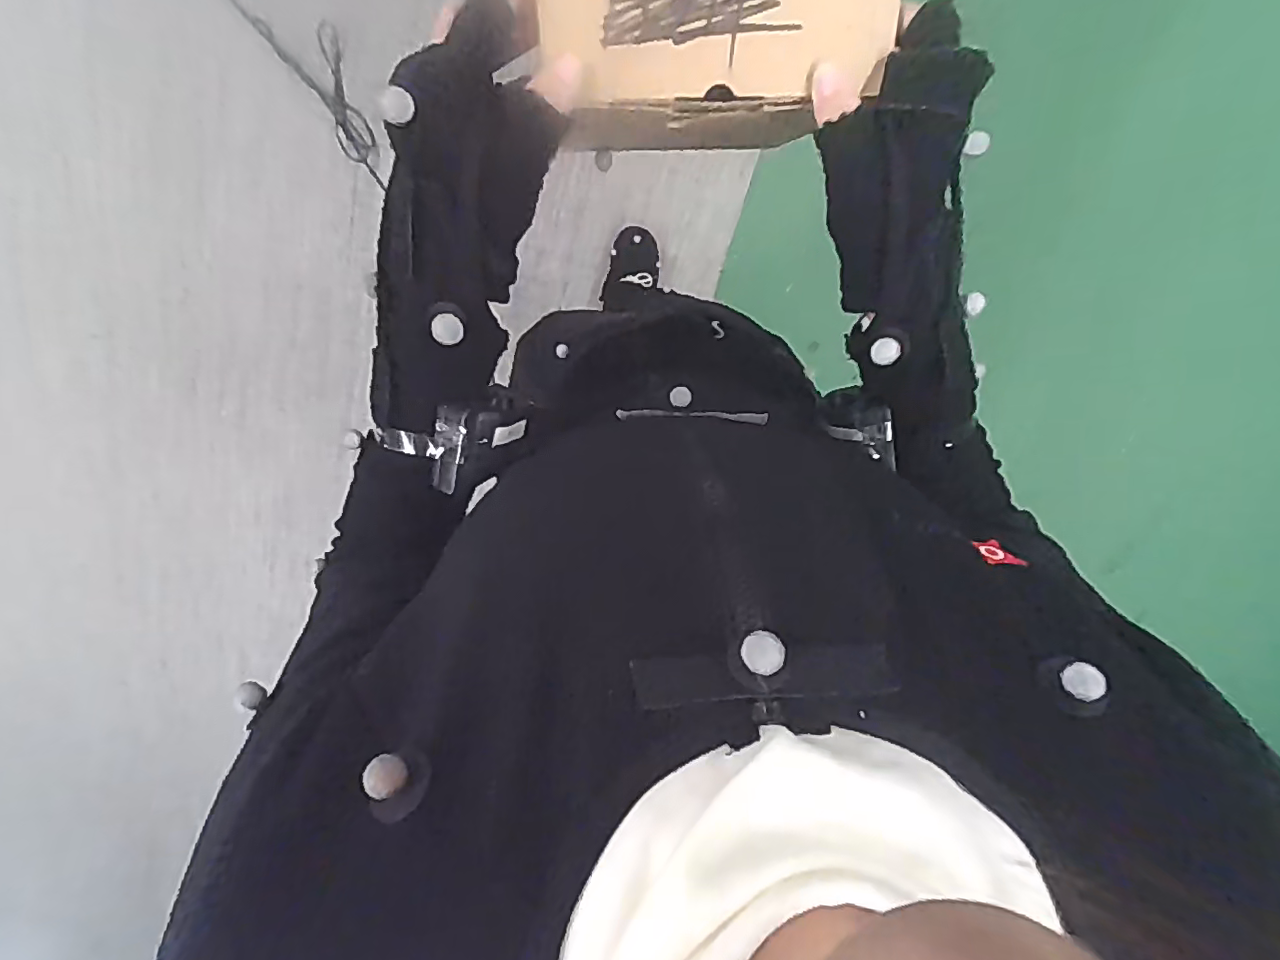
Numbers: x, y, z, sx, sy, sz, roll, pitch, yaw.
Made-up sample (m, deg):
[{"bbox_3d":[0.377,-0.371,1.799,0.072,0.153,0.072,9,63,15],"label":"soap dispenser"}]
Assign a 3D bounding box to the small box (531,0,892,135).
[{"bbox_3d":[0.027,-0.297,0.291,0.168,0.176,0.179,-4,115,-4],"label":"small box"}]
